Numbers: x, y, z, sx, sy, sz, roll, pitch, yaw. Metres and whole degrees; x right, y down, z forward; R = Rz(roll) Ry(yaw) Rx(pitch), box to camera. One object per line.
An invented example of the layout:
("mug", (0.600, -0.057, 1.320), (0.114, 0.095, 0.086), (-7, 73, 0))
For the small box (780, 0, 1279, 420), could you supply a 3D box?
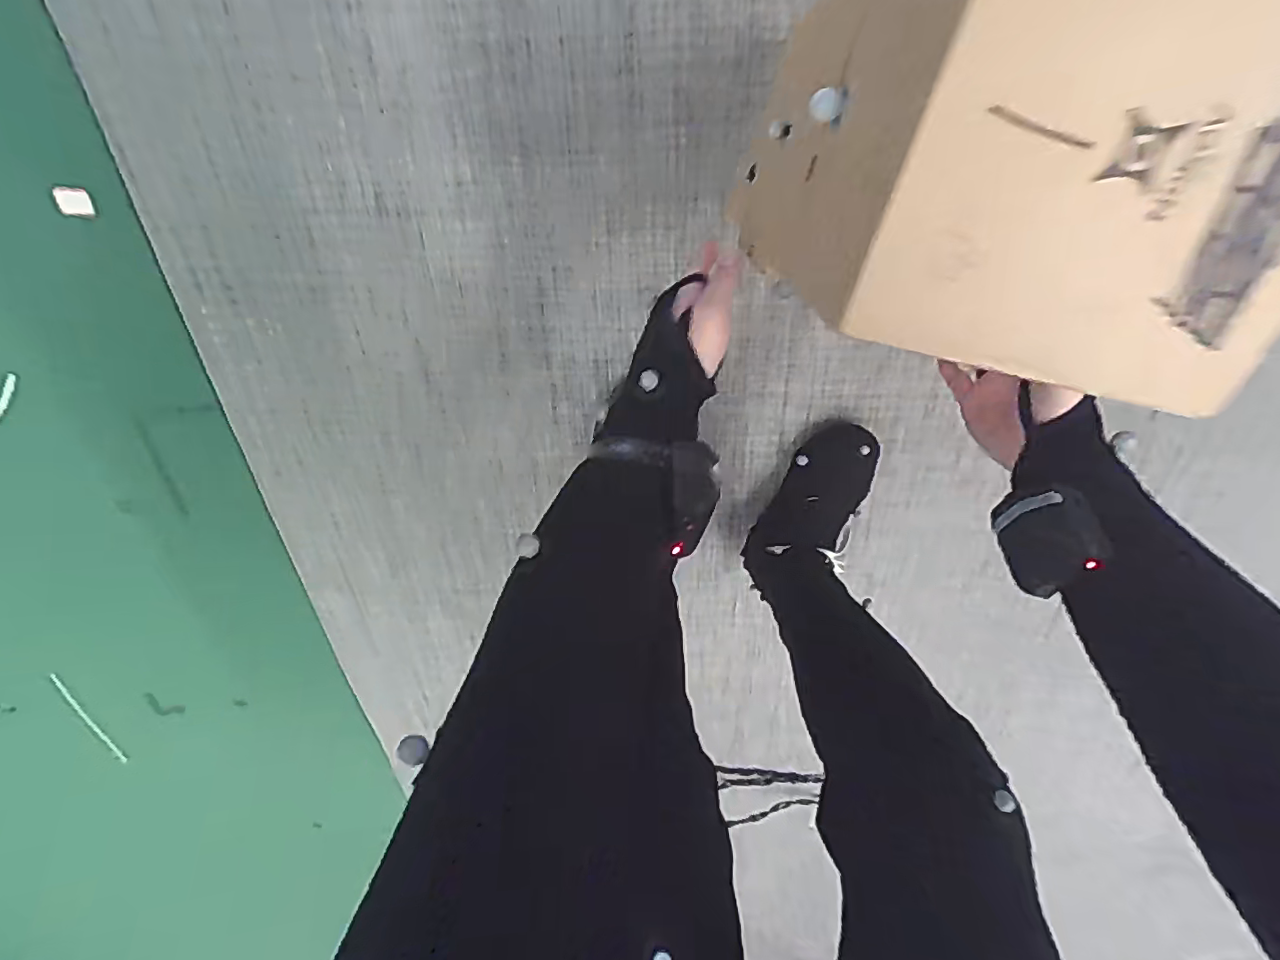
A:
("small box", (0.181, -0.151, 0.237), (0.179, 0.176, 0.168), (14, 121, -3))
